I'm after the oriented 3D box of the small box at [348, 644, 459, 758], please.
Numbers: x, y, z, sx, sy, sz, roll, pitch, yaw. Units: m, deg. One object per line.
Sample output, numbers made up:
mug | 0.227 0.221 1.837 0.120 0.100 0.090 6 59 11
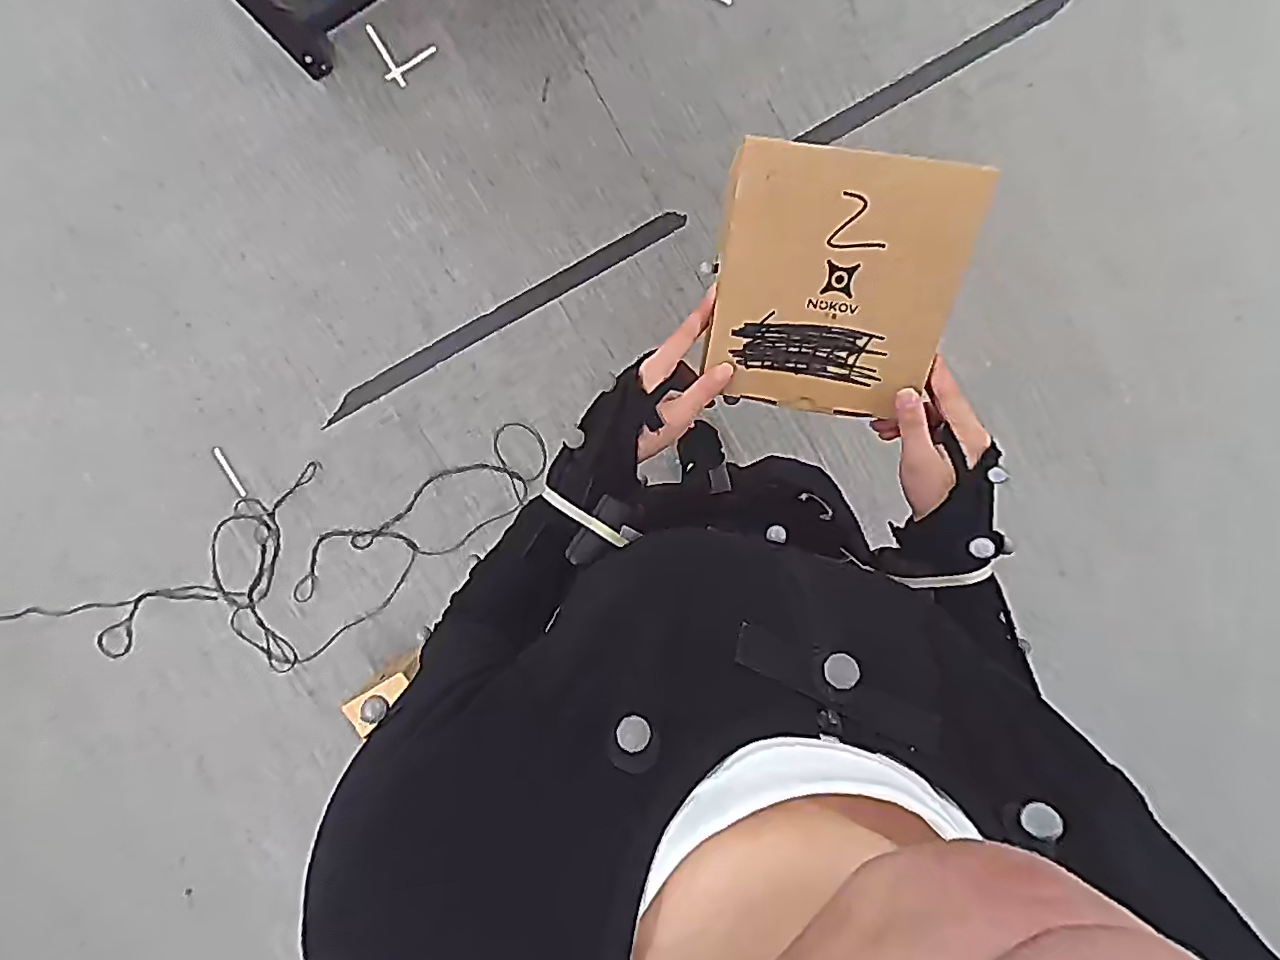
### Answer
small box | -0.578 0.544 1.357 0.179 0.176 0.168 -30 95 4
